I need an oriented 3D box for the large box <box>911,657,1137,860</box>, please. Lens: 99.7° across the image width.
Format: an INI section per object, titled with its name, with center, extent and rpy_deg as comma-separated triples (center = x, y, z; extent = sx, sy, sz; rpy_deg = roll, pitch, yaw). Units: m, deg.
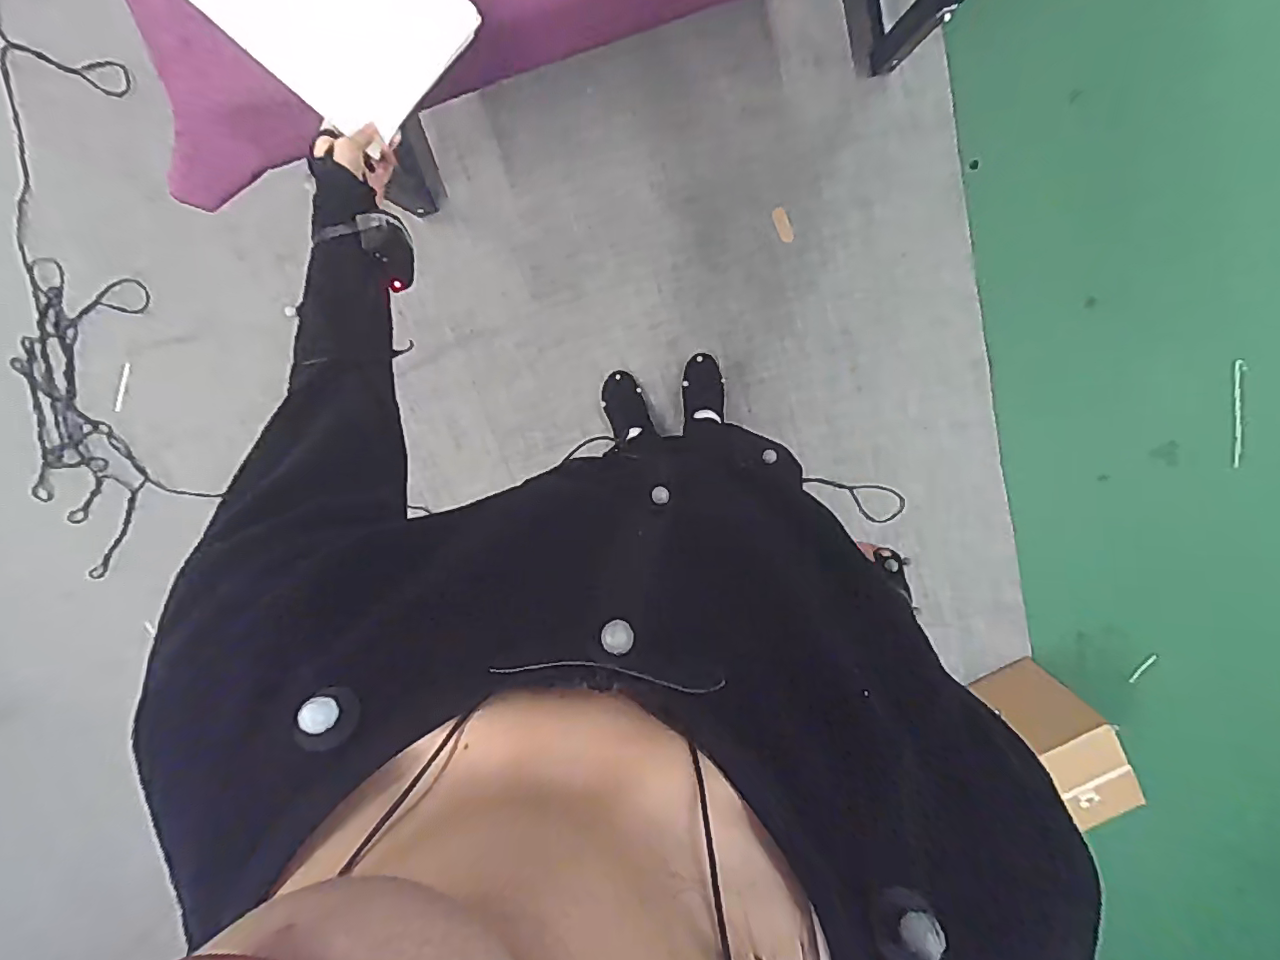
[large box]
center = 1.126, 0.817, 1.624
extent = 0.408, 0.320, 0.320
rpy_deg = -31, 105, 5
